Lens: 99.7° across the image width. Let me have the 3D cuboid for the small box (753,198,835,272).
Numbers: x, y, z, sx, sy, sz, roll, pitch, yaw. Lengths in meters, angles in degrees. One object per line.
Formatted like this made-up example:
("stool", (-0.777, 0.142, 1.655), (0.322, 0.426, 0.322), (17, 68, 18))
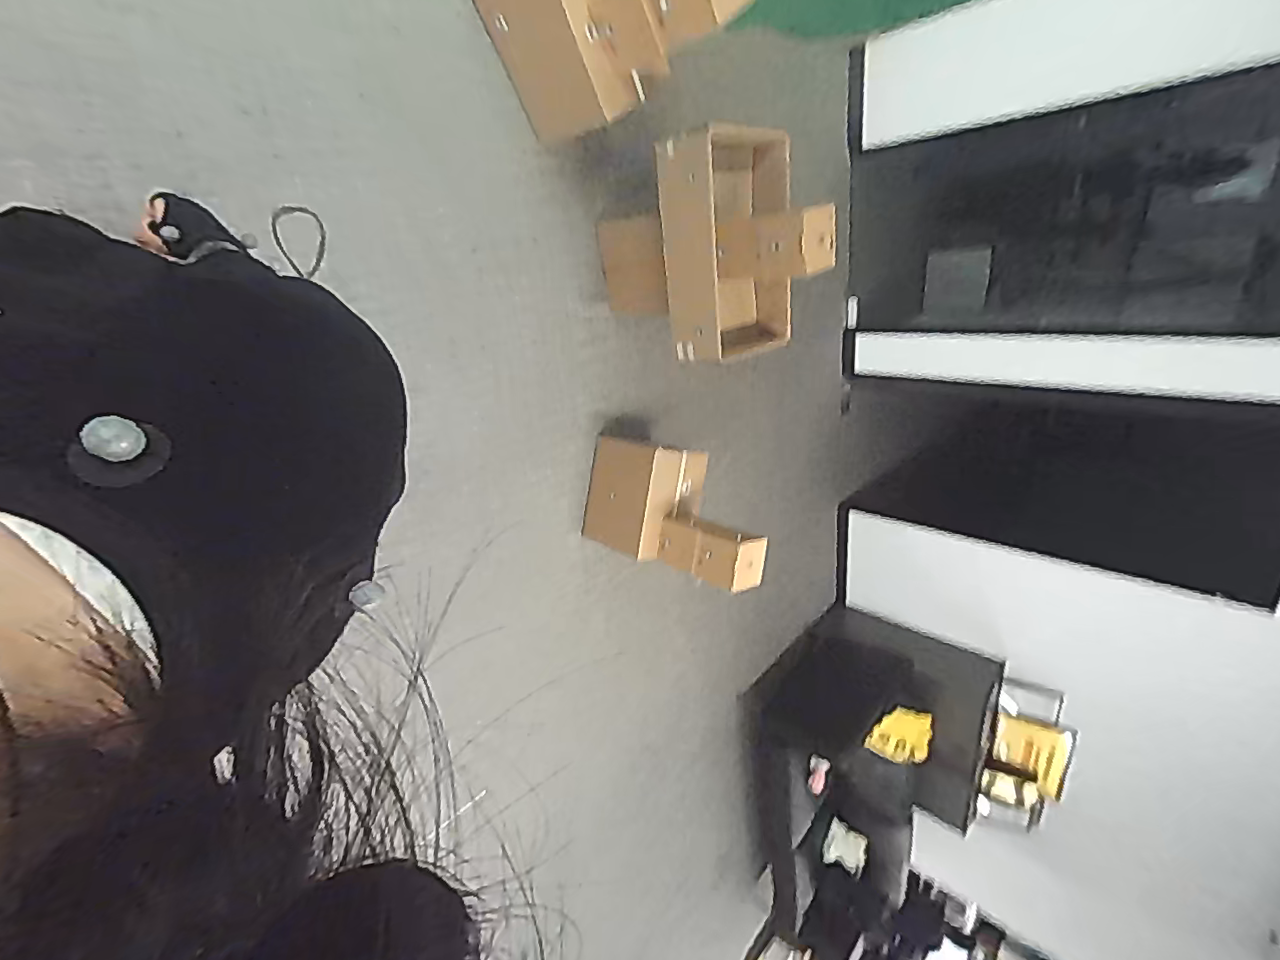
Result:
("small box", (0.436, -0.696, 1.542), (0.179, 0.176, 0.168), (-30, 122, -36))

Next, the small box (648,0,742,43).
("small box", (0.129, -1.154, 1.237), (0.179, 0.176, 0.168), (-54, 133, -22))

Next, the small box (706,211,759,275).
("small box", (0.322, -0.726, 1.656), (0.179, 0.176, 0.168), (-27, 120, -37))

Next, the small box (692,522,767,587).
("small box", (0.306, 0.248, 1.855), (0.179, 0.176, 0.168), (-4, 104, -46))
